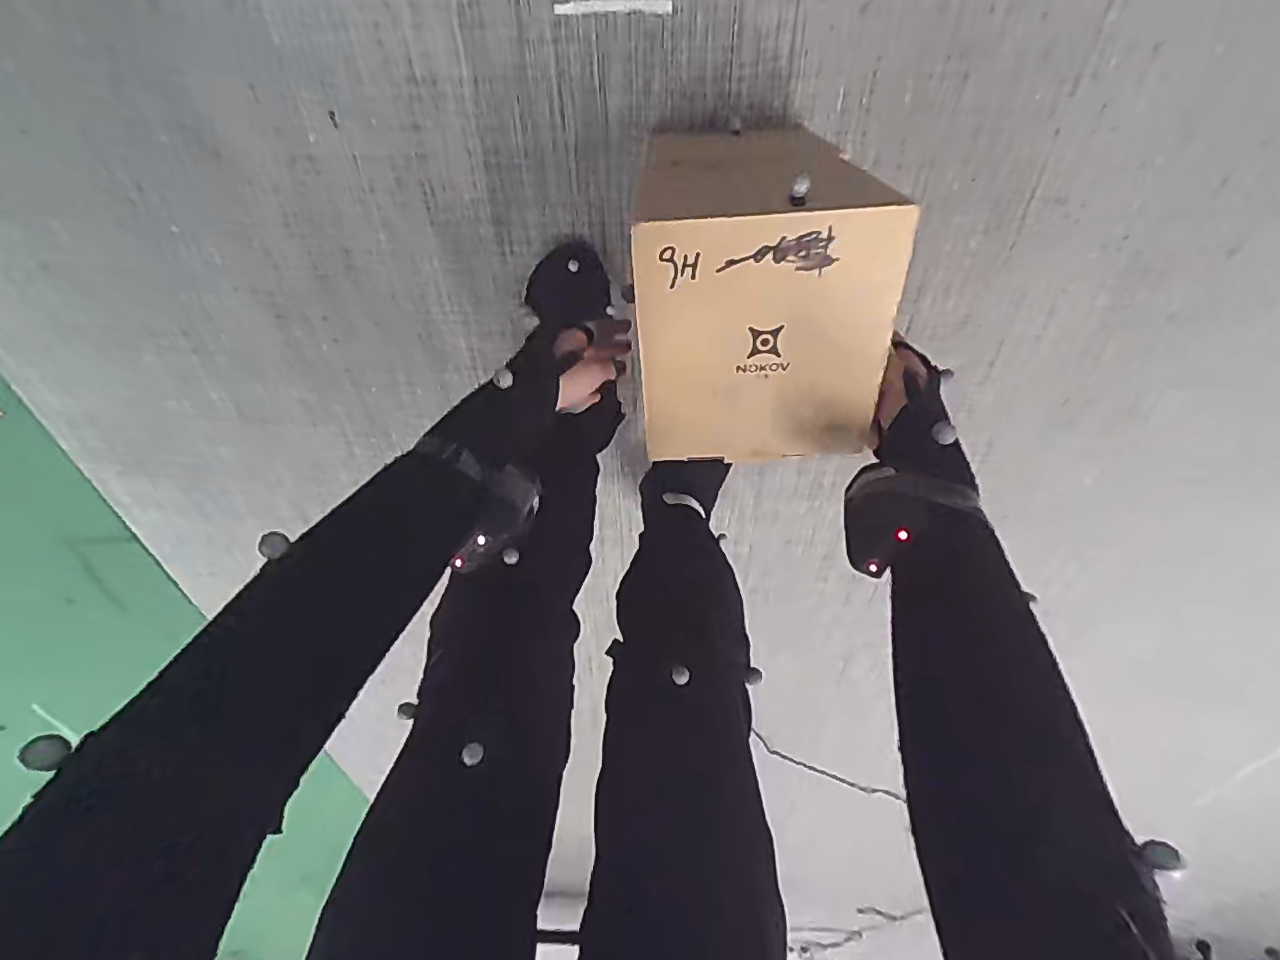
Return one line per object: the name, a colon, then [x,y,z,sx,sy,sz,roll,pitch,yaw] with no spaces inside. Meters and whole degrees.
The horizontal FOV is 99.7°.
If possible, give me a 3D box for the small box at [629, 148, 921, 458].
small box: [0.080,-0.137,0.416,0.168,0.176,0.179,-3,130,2]
